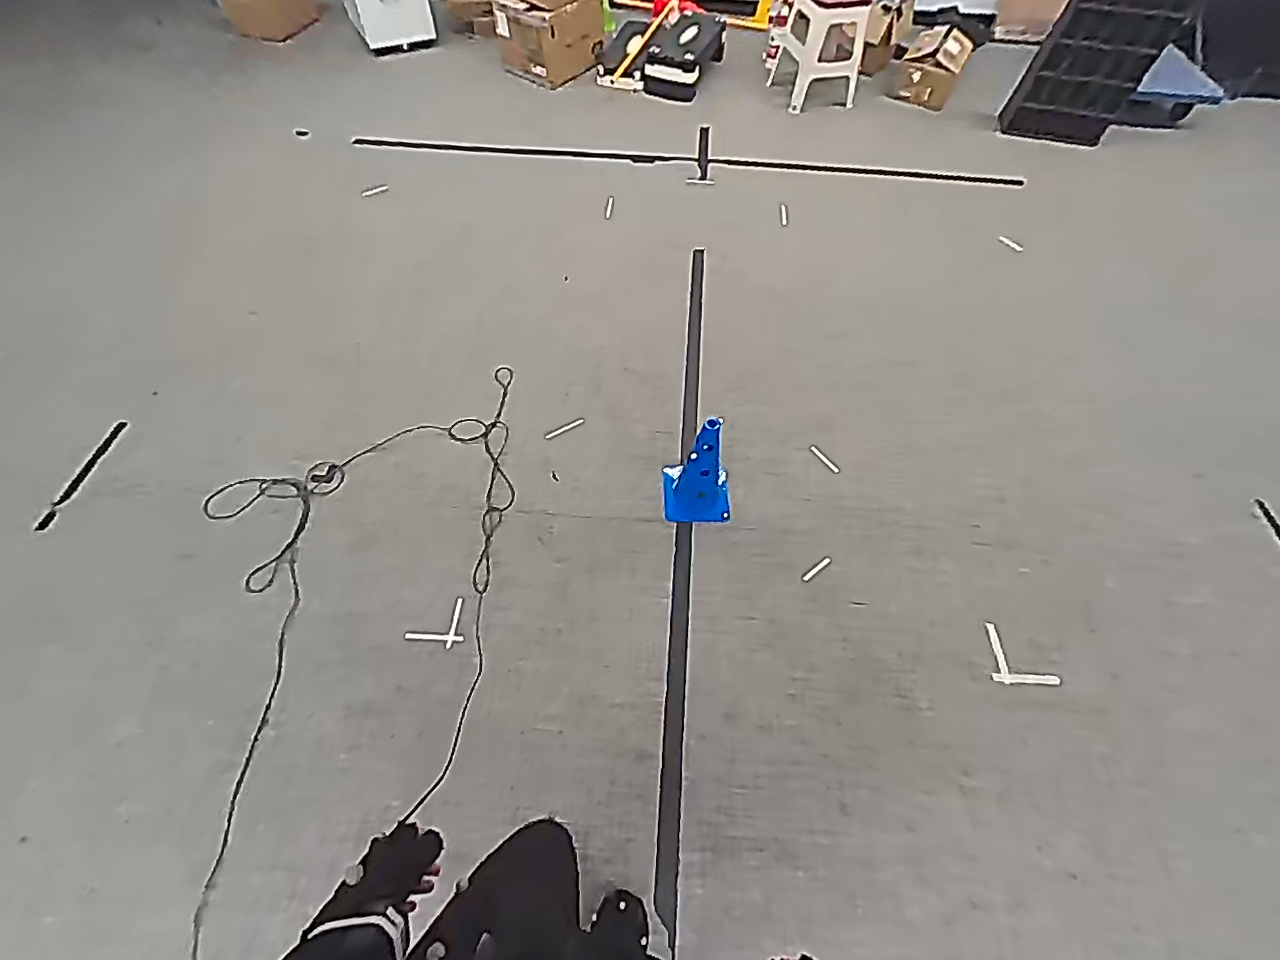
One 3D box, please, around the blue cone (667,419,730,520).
[{"bbox_3d":[0.187,-0.046,1.545,0.192,0.380,0.193,3,58,-2],"label":"blue cone"}]
